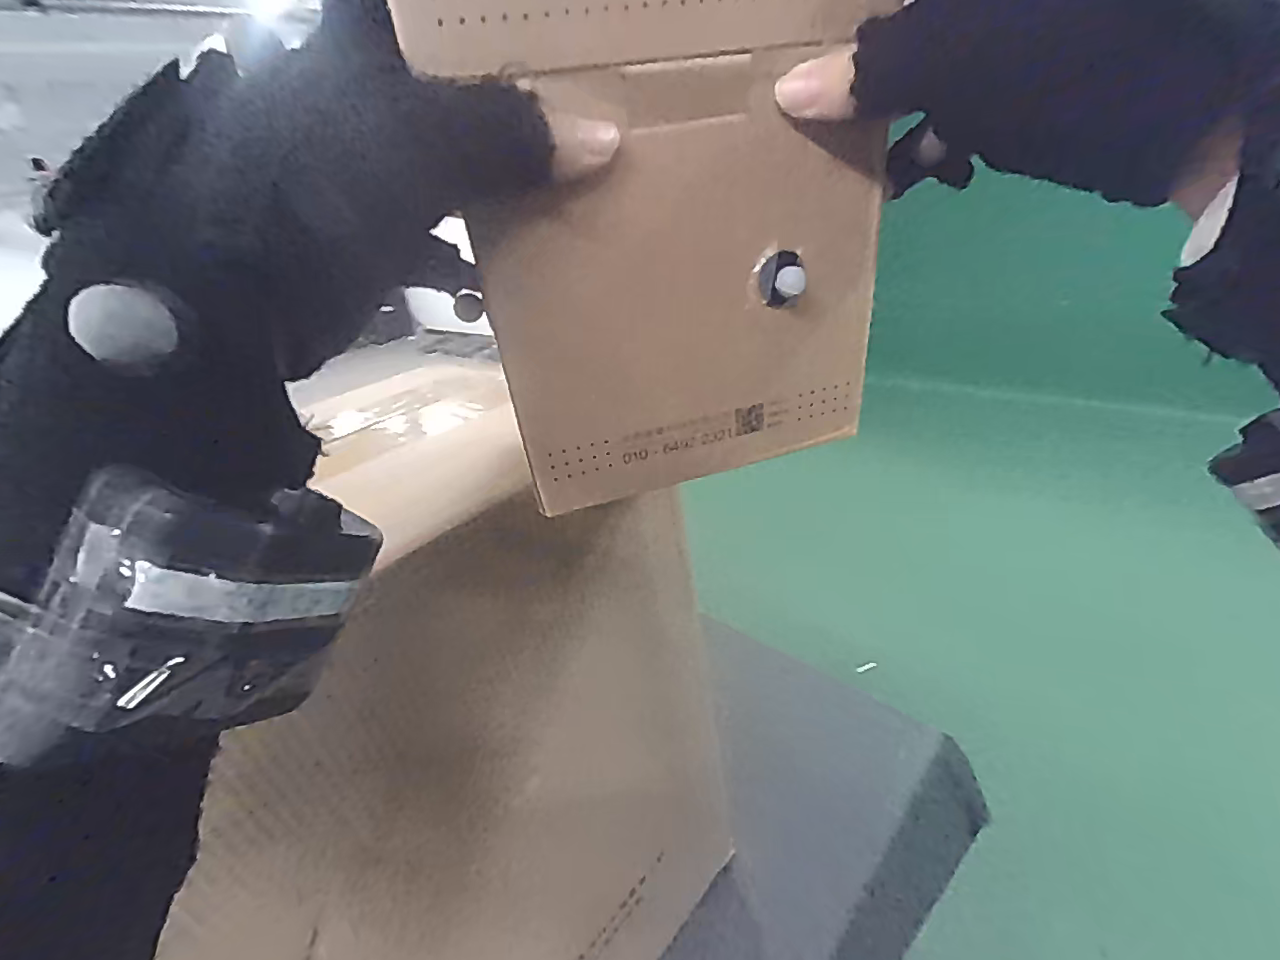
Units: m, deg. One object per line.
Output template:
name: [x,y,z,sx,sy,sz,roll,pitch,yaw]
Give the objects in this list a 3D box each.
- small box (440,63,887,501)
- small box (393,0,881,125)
small box: [0.001,-0.103,0.295,0.168,0.176,0.179,-13,33,-10]
small box: [-0.014,-0.238,0.203,0.179,0.176,0.168,-14,35,-14]
